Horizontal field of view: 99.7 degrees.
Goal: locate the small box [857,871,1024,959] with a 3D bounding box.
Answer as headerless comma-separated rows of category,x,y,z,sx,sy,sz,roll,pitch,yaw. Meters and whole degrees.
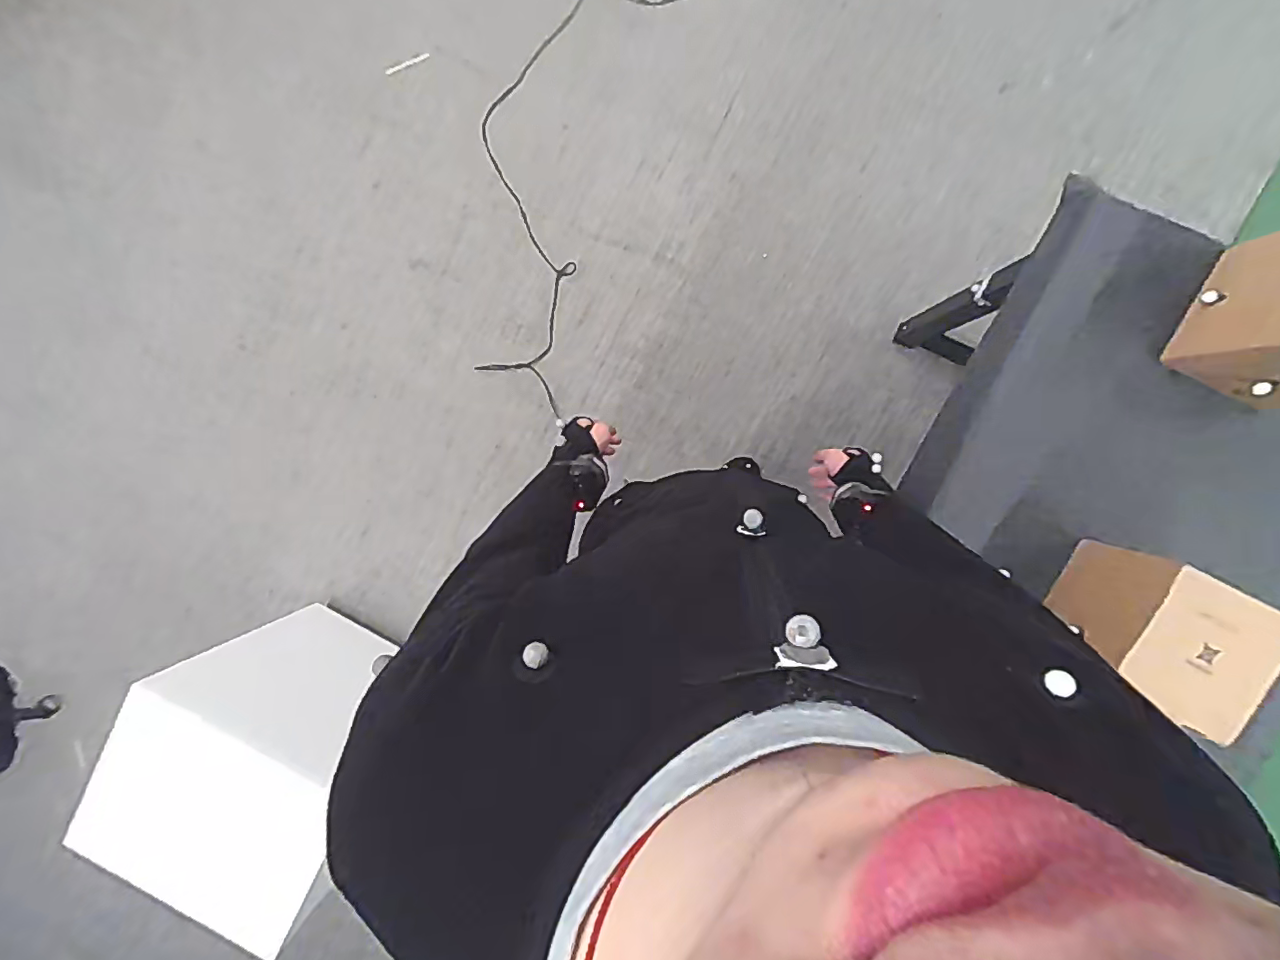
small box,0.443,0.721,0.774,0.168,0.176,0.179,28,95,1

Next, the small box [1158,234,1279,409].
small box,0.837,-0.200,0.692,0.168,0.176,0.179,27,96,0

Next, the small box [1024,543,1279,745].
small box,0.673,0.206,0.731,0.168,0.176,0.179,27,94,-1
